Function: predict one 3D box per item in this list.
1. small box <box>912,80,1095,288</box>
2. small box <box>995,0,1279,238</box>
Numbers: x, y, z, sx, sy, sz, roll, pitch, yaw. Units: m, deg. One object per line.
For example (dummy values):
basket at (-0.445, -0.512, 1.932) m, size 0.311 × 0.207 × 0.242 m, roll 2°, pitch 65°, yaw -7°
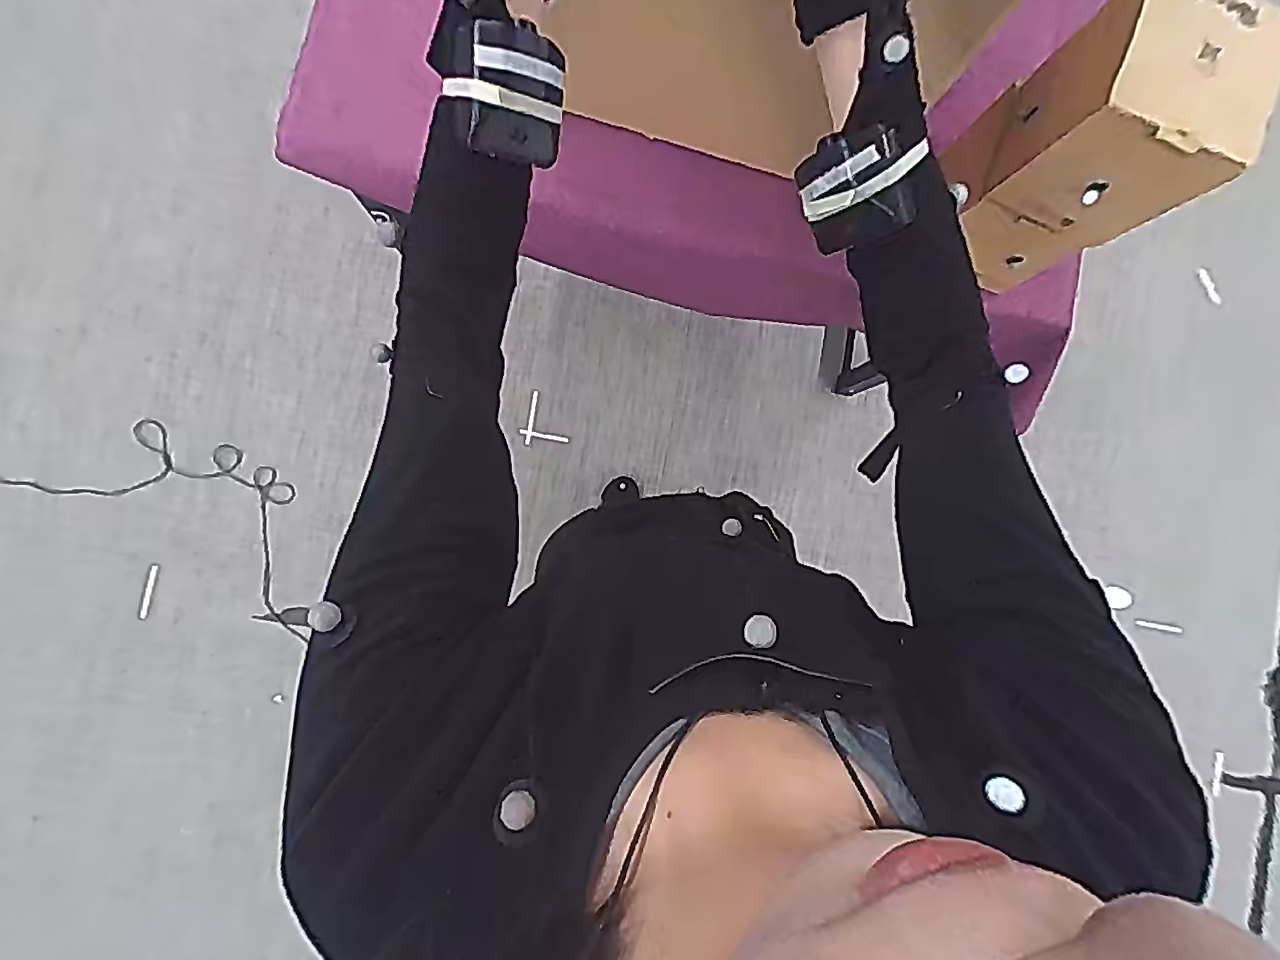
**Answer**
small box at (0.525, -0.405, 0.774) m, size 0.168 × 0.176 × 0.179 m, roll 19°, pitch 85°, yaw -5°
small box at (0.549, -0.411, 0.611) m, size 0.168 × 0.176 × 0.179 m, roll 22°, pitch 86°, yaw -5°
